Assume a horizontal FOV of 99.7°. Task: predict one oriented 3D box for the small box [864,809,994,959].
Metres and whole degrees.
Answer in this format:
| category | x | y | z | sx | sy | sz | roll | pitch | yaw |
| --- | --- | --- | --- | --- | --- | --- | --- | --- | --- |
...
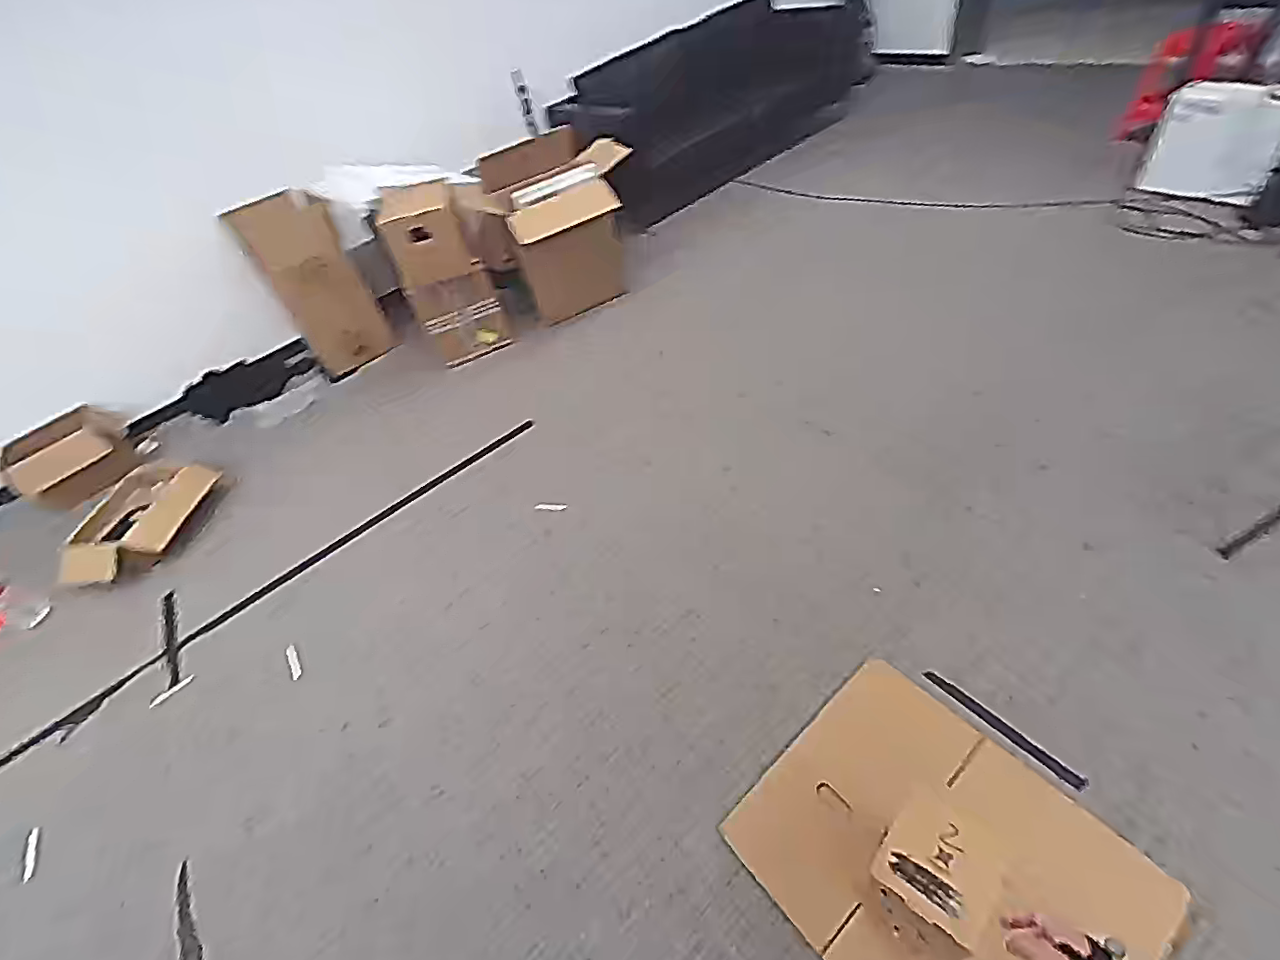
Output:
| category | x | y | z | sx | sy | sz | roll | pitch | yaw |
| --- | --- | --- | --- | --- | --- | --- | --- | --- | --- |
| small box | 0.554 | 0.795 | 1.057 | 0.168 | 0.176 | 0.179 | 27 | 60 | 37 |
